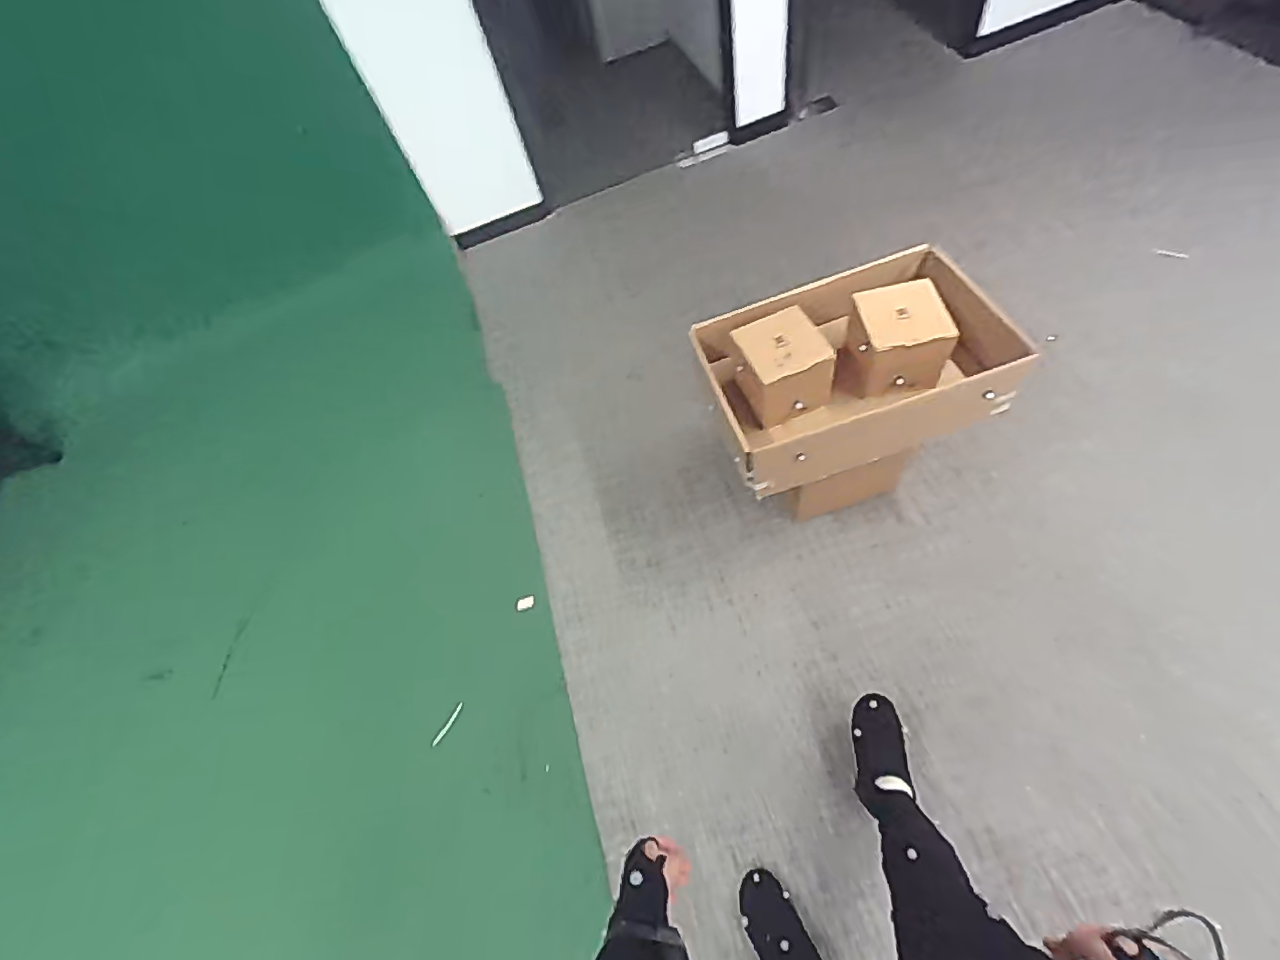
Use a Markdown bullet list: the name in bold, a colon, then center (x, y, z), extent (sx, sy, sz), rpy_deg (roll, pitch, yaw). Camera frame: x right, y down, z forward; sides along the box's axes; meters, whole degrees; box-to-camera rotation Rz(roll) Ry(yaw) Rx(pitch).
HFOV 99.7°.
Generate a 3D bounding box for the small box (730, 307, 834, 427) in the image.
- **small box**: center (0.315, -0.252, 1.229), extent (0.168, 0.176, 0.179), rpy_deg (-22, 58, -1)
